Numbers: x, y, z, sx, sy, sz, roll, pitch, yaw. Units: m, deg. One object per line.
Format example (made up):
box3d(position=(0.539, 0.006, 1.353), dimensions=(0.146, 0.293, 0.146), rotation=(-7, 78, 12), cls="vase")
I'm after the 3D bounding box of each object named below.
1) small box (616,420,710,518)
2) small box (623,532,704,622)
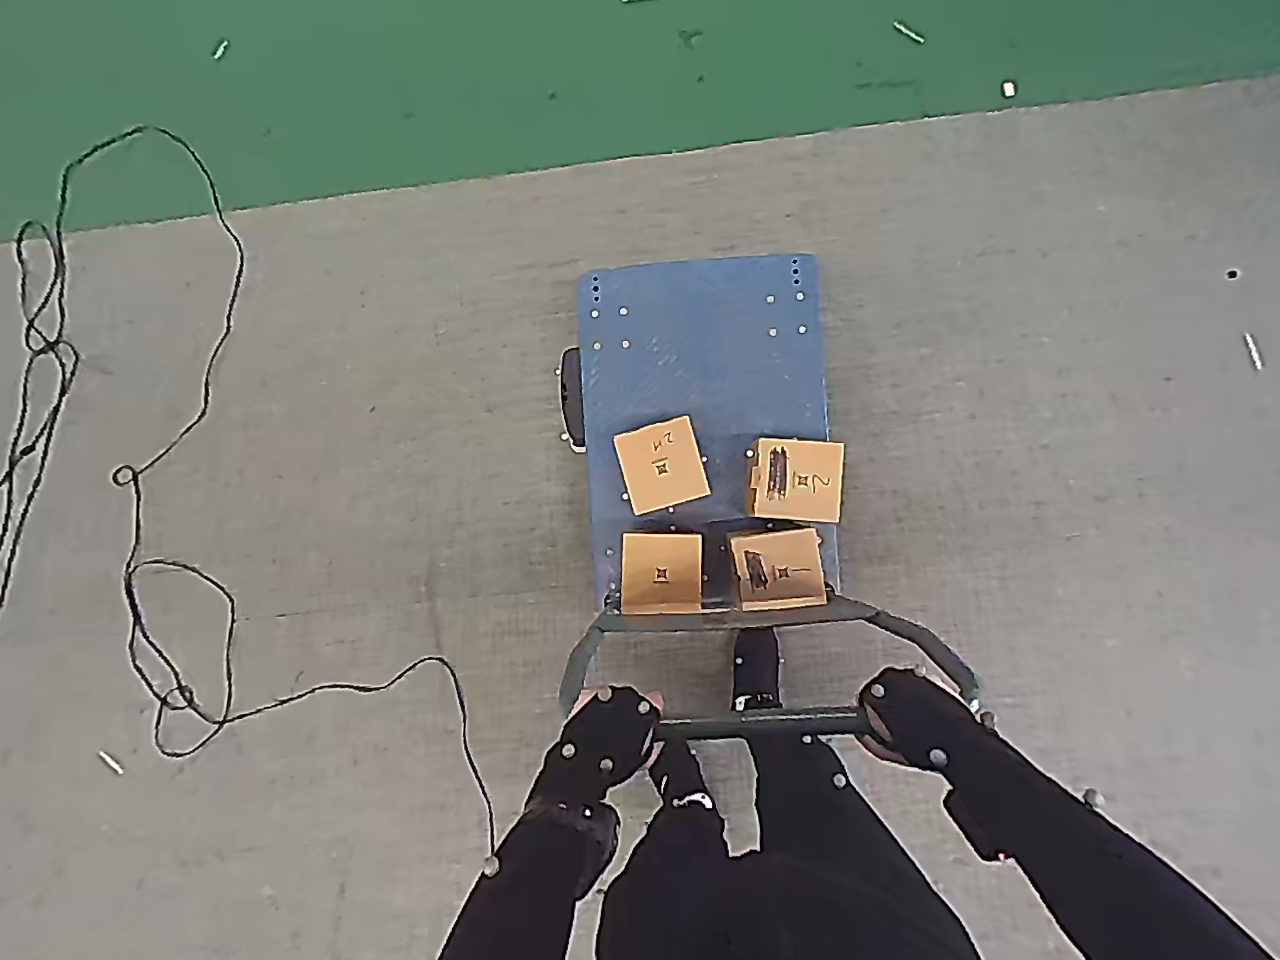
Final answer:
box3d(position=(0.052, -0.021, 1.202), dimensions=(0.168, 0.176, 0.179), rotation=(-15, 87, 2), cls="small box")
box3d(position=(0.051, 0.207, 1.195), dimensions=(0.168, 0.176, 0.179), rotation=(2, 87, 3), cls="small box")
